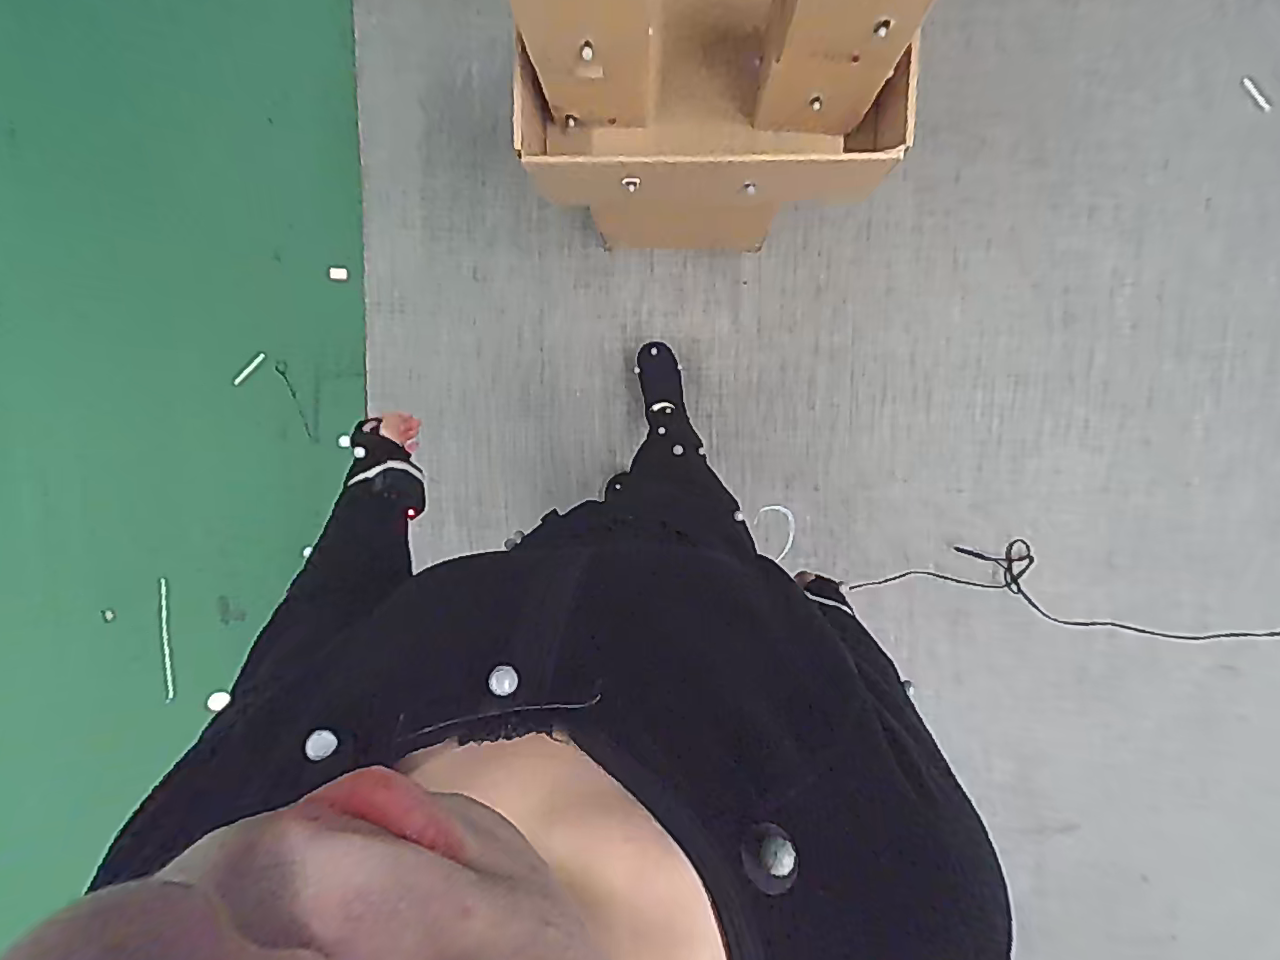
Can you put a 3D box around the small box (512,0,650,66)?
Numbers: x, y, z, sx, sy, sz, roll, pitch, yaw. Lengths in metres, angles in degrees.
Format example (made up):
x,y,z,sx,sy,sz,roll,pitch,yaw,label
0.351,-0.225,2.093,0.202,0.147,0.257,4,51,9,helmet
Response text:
x,y,z,sx,sy,sz,roll,pitch,yaw,label
-0.075,-0.691,0.719,0.179,0.176,0.168,0,94,3,small box

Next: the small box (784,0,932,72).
x,y,z,sx,sy,sz,roll,pitch,yaw,label
0.291,-0.673,0.697,0.168,0.176,0.179,8,94,2,small box
